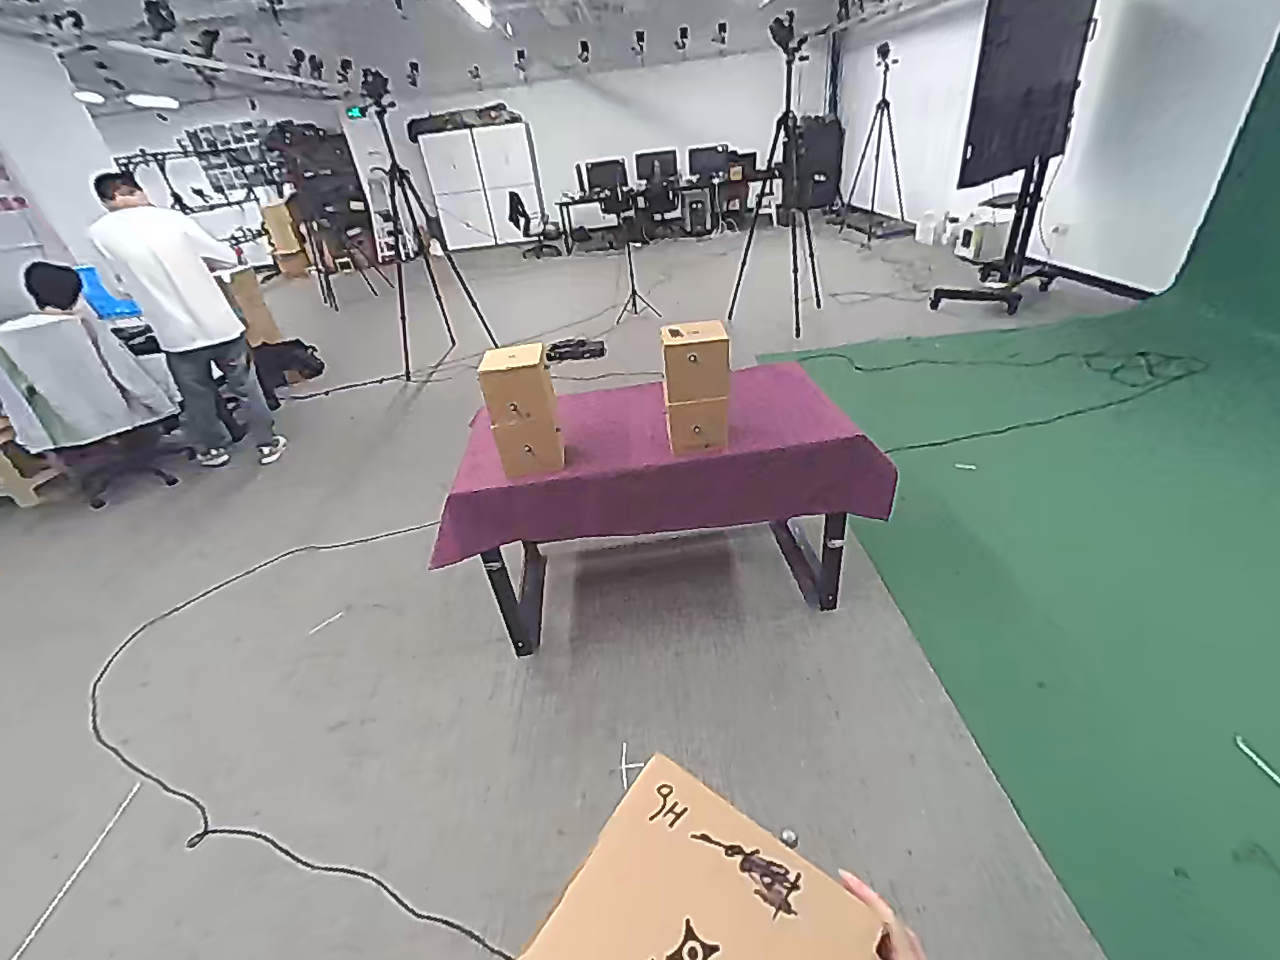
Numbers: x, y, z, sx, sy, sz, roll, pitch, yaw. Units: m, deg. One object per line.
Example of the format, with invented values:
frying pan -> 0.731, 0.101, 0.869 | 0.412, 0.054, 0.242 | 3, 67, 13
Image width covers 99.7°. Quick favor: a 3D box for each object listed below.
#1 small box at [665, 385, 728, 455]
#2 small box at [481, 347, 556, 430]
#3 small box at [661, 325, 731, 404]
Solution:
small box -> 0.167, -0.182, 1.611 | 0.168, 0.176, 0.179 | -6, 32, 1
small box -> -0.336, -0.259, 1.527 | 0.168, 0.176, 0.179 | -8, 33, -1
small box -> 0.157, -0.323, 1.525 | 0.179, 0.176, 0.168 | -6, 33, 2
